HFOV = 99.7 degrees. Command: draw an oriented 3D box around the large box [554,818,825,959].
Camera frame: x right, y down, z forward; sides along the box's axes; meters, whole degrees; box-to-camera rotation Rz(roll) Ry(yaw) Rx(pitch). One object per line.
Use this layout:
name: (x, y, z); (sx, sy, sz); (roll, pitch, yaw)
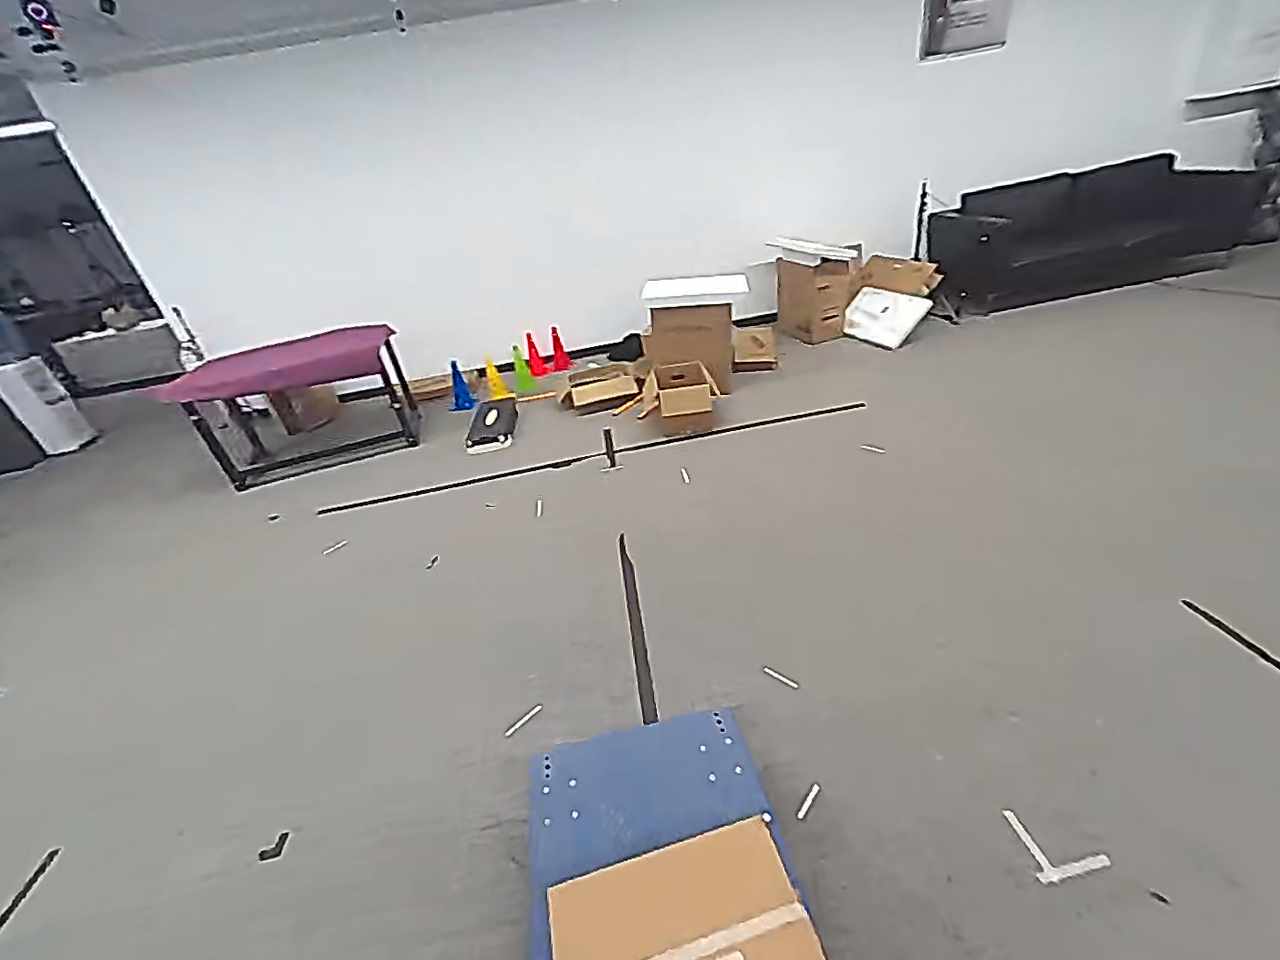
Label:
large box: (0.094, 0.874, 0.921); (0.408, 0.320, 0.320); (-13, 32, -8)
